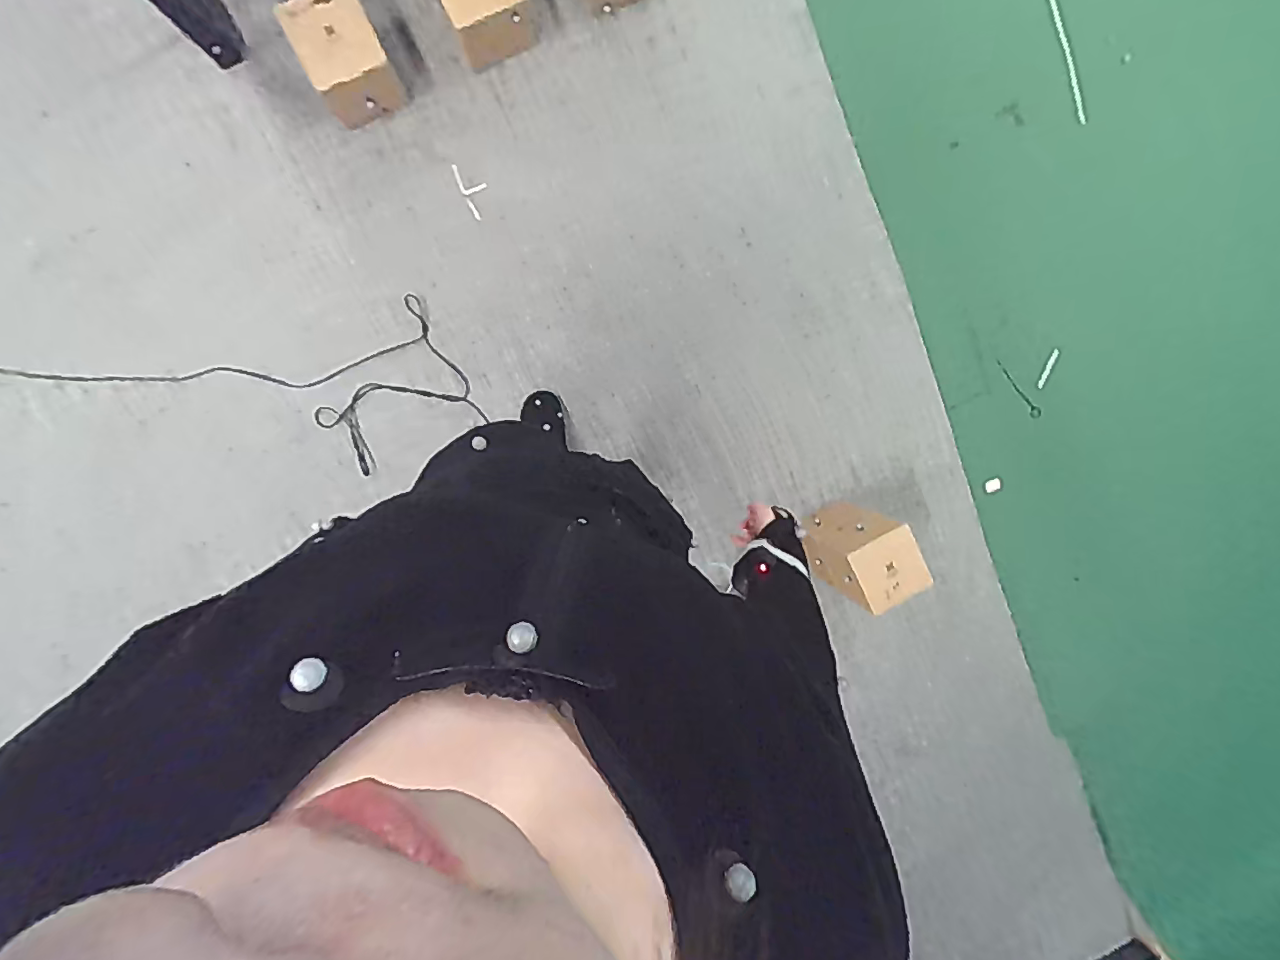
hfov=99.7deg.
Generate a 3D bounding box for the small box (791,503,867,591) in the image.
[{"bbox_3d":[0.551,0.178,1.521,0.168,0.176,0.179,-25,102,-2],"label":"small box"}]

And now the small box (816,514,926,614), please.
[{"bbox_3d":[0.570,0.200,1.358,0.168,0.176,0.179,-27,101,-1],"label":"small box"}]

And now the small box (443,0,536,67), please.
[{"bbox_3d":[-0.351,-1.090,1.224,0.179,0.176,0.168,-26,101,-2],"label":"small box"}]

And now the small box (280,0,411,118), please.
[{"bbox_3d":[-0.643,-0.951,1.209,0.168,0.176,0.179,-24,102,-2],"label":"small box"}]
